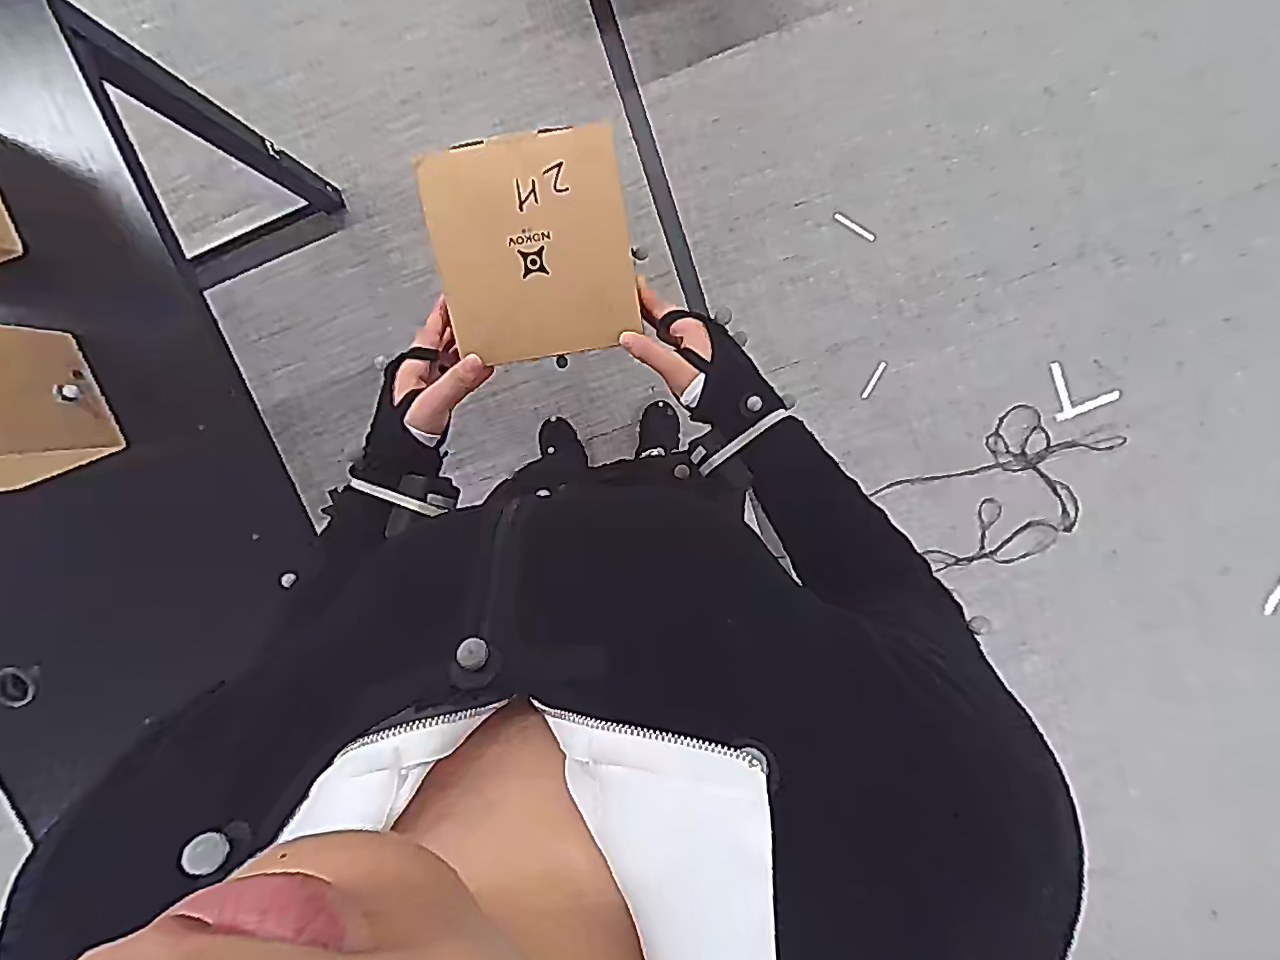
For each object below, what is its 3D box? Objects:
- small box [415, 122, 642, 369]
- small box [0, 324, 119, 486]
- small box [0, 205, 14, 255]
[{"bbox_3d":[-0.089,-0.212,0.530,0.168,0.176,0.179,-8,105,2],"label":"small box"},{"bbox_3d":[-0.820,-0.084,0.661,0.179,0.176,0.168,-20,98,3],"label":"small box"},{"bbox_3d":[-0.914,-0.347,0.624,0.168,0.176,0.179,-17,99,3],"label":"small box"}]
